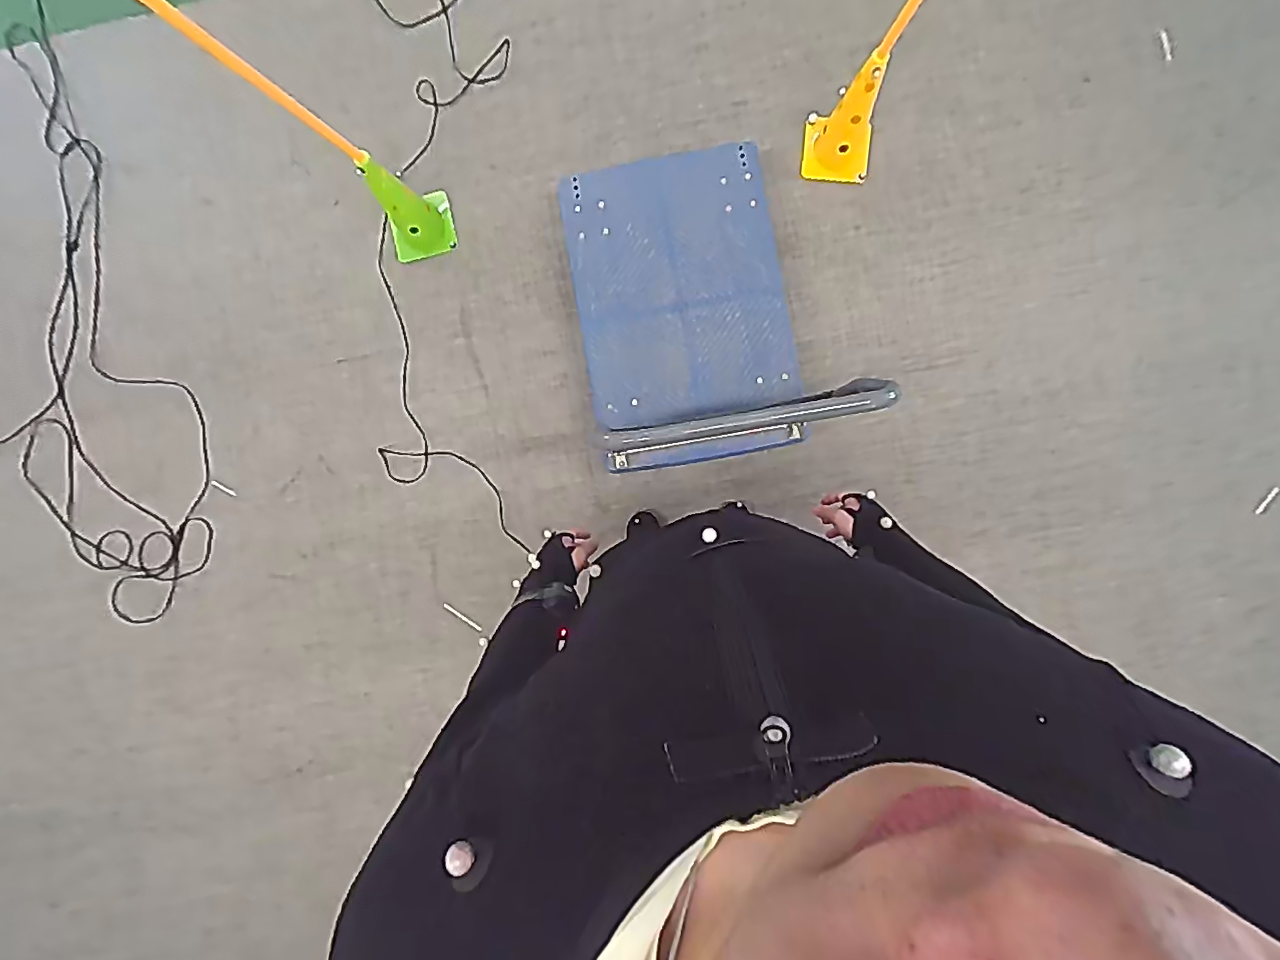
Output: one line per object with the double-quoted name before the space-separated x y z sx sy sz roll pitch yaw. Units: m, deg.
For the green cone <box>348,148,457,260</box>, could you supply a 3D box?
"green cone" -0.710 -0.828 1.559 0.202 0.368 0.200 -15 86 4
